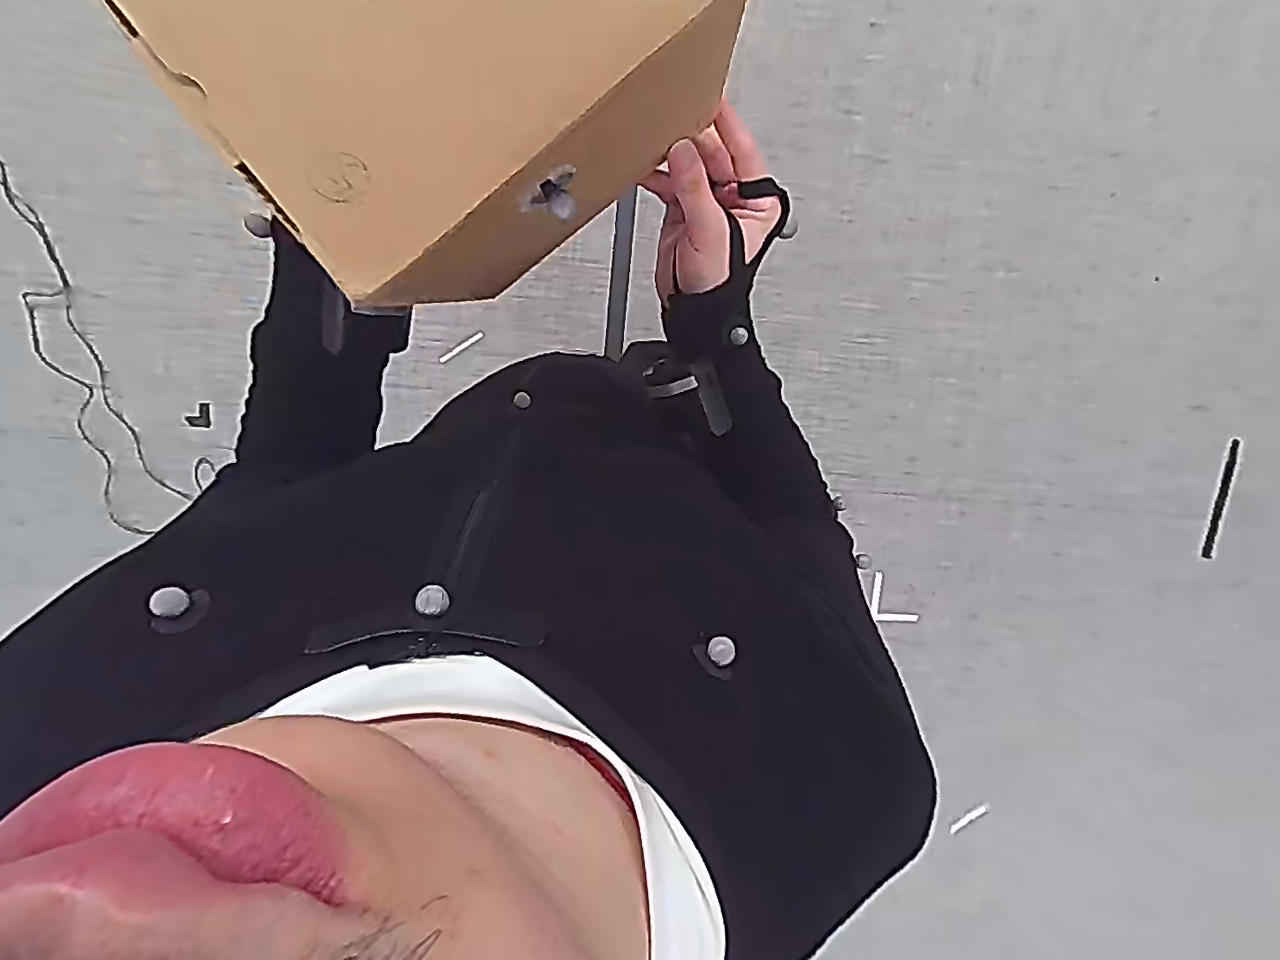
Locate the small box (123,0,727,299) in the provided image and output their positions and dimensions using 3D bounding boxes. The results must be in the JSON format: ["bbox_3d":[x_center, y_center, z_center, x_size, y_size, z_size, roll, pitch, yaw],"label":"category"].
[{"bbox_3d":[-0.078,-0.203,0.250,0.179,0.176,0.168,-33,105,13],"label":"small box"}]
